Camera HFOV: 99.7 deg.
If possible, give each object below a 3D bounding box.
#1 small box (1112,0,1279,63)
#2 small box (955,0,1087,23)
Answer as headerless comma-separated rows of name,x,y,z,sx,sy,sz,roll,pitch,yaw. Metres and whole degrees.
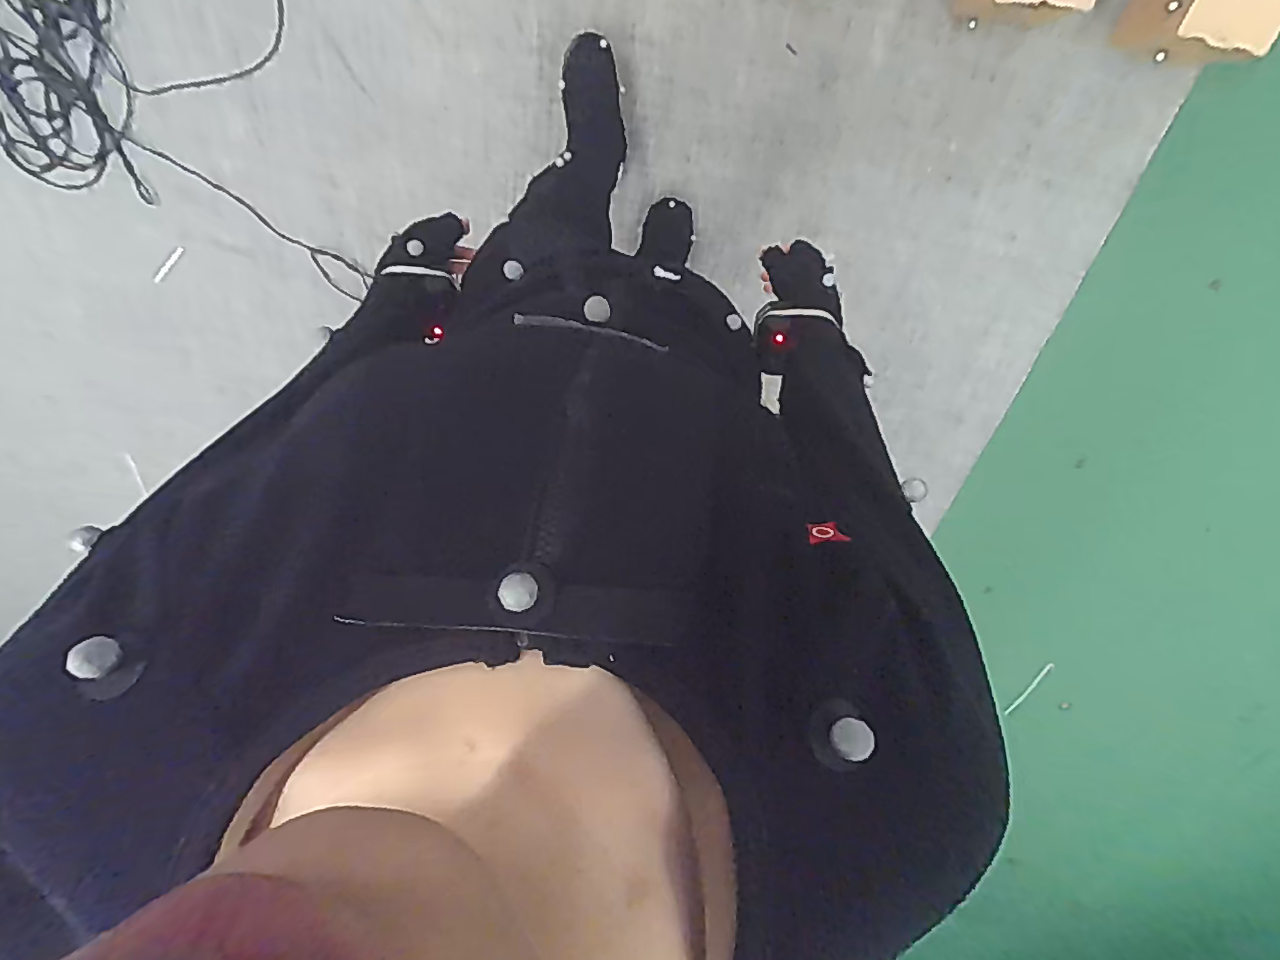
small box,0.993,-0.859,0.941,0.168,0.176,0.179,11,123,-3
small box,0.674,-0.911,0.924,0.168,0.176,0.179,6,122,-1
